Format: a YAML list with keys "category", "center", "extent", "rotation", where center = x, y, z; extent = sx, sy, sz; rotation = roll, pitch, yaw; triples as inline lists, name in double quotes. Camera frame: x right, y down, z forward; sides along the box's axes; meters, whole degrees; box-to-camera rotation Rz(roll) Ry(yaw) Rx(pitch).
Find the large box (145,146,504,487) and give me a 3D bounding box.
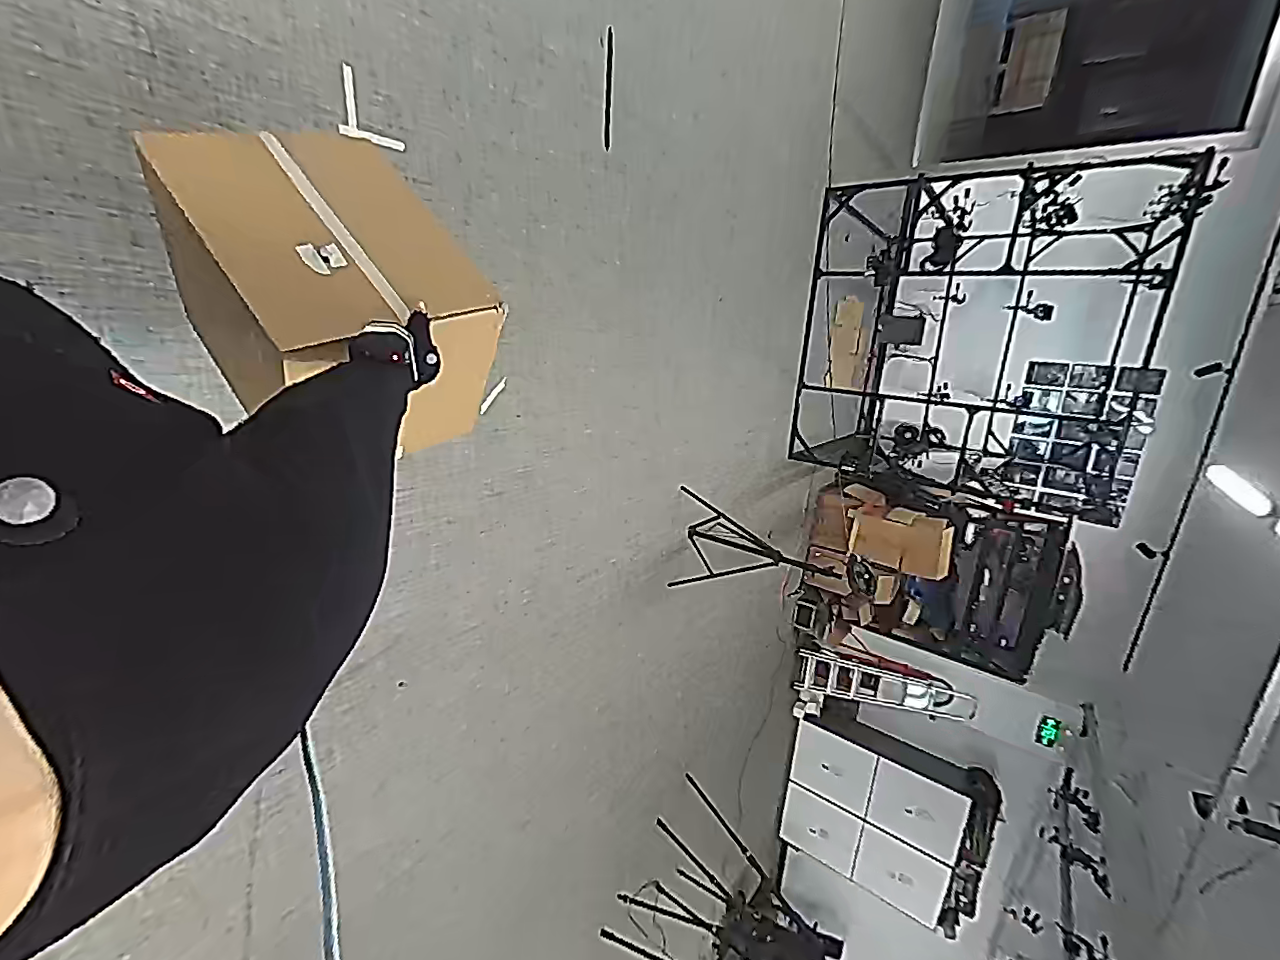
- category: "large box"
  center: [-0.497, -0.267, 0.884]
  extent: [0.320, 0.408, 0.320]
  rotation: [-30, 166, -40]
